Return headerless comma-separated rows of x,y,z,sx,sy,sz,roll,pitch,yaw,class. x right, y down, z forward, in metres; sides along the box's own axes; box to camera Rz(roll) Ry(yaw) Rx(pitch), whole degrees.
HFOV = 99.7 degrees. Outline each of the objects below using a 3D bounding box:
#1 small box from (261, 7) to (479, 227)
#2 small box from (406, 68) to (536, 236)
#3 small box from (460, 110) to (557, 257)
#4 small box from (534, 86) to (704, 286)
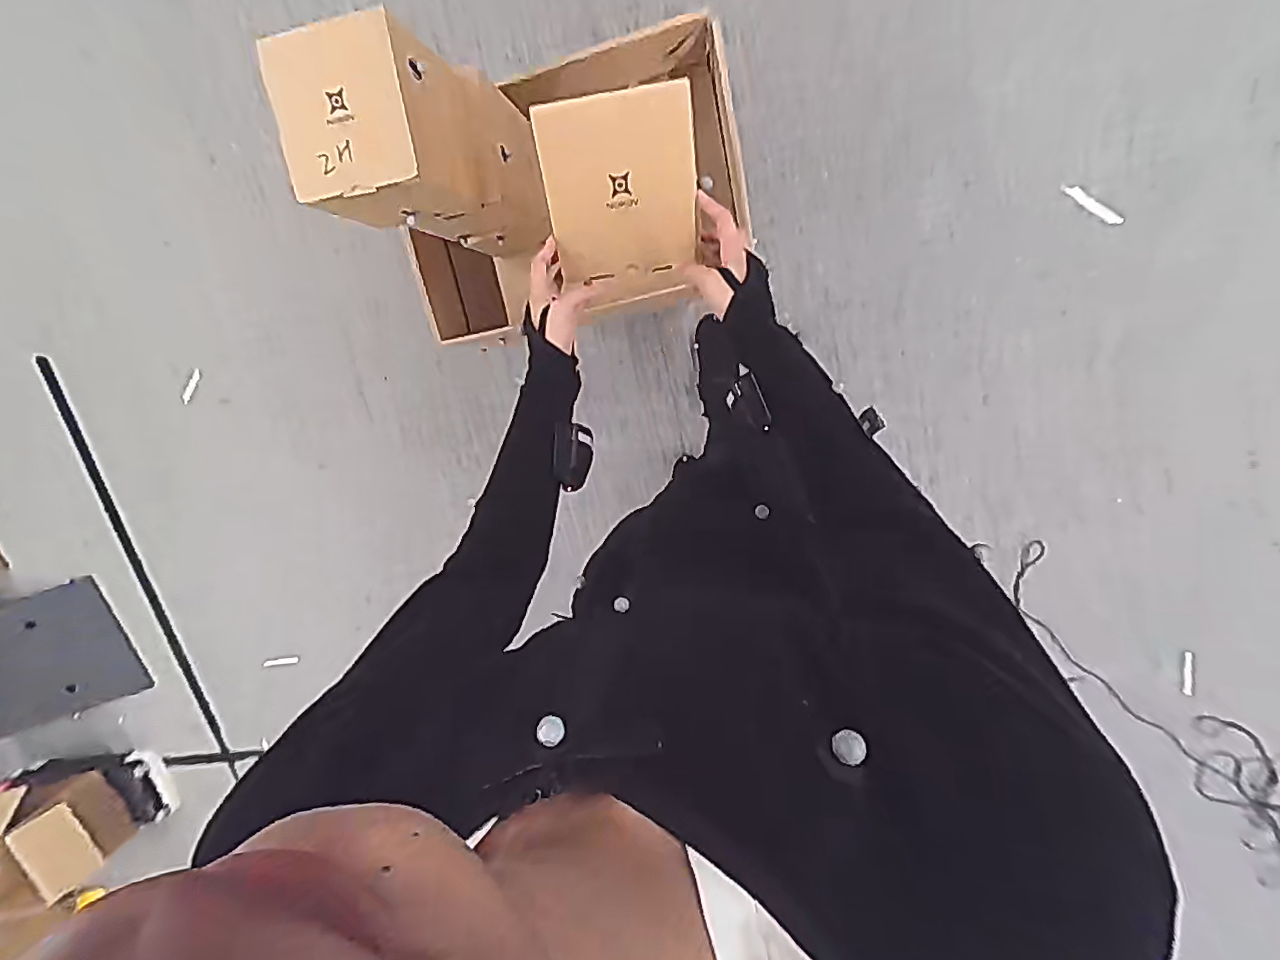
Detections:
-0.329,-0.445,0.696,0.168,0.176,0.179,-5,105,10,small box
-0.276,-0.494,0.847,0.168,0.176,0.179,-6,104,10,small box
-0.247,-0.536,1.004,0.168,0.176,0.179,-13,102,12,small box
-0.015,-0.349,0.654,0.168,0.176,0.179,-5,121,7,small box
